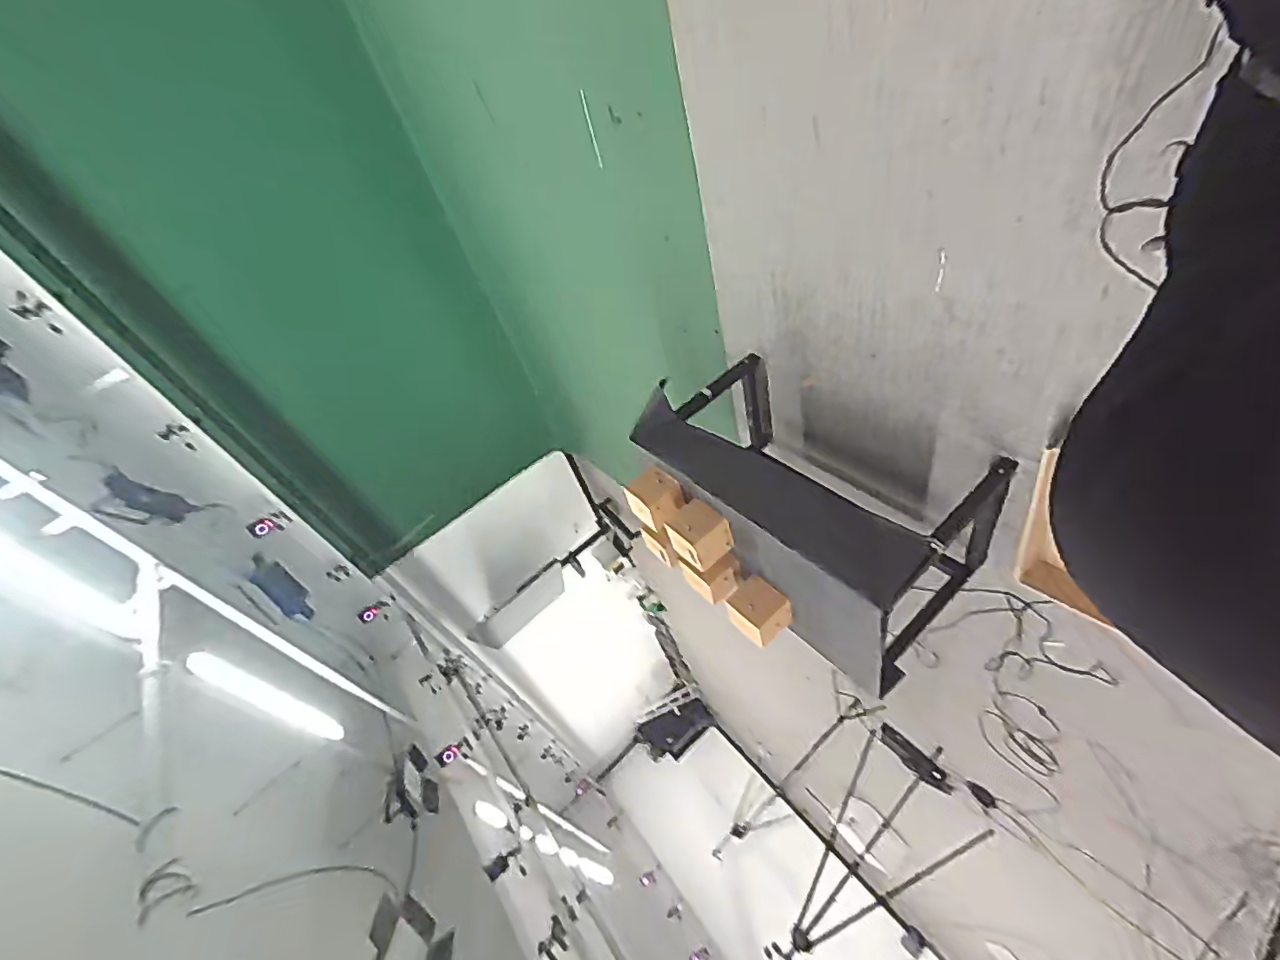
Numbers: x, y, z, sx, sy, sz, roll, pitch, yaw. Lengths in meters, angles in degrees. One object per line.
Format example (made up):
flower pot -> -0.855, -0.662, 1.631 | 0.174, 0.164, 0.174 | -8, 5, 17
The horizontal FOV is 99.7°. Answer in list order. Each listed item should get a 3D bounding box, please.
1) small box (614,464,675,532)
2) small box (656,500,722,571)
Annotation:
small box -> 0.026, 0.072, 2.199 | 0.168, 0.176, 0.179 | 37, 157, 37
small box -> 0.193, 0.204, 2.046 | 0.179, 0.176, 0.168 | 35, 156, 43
